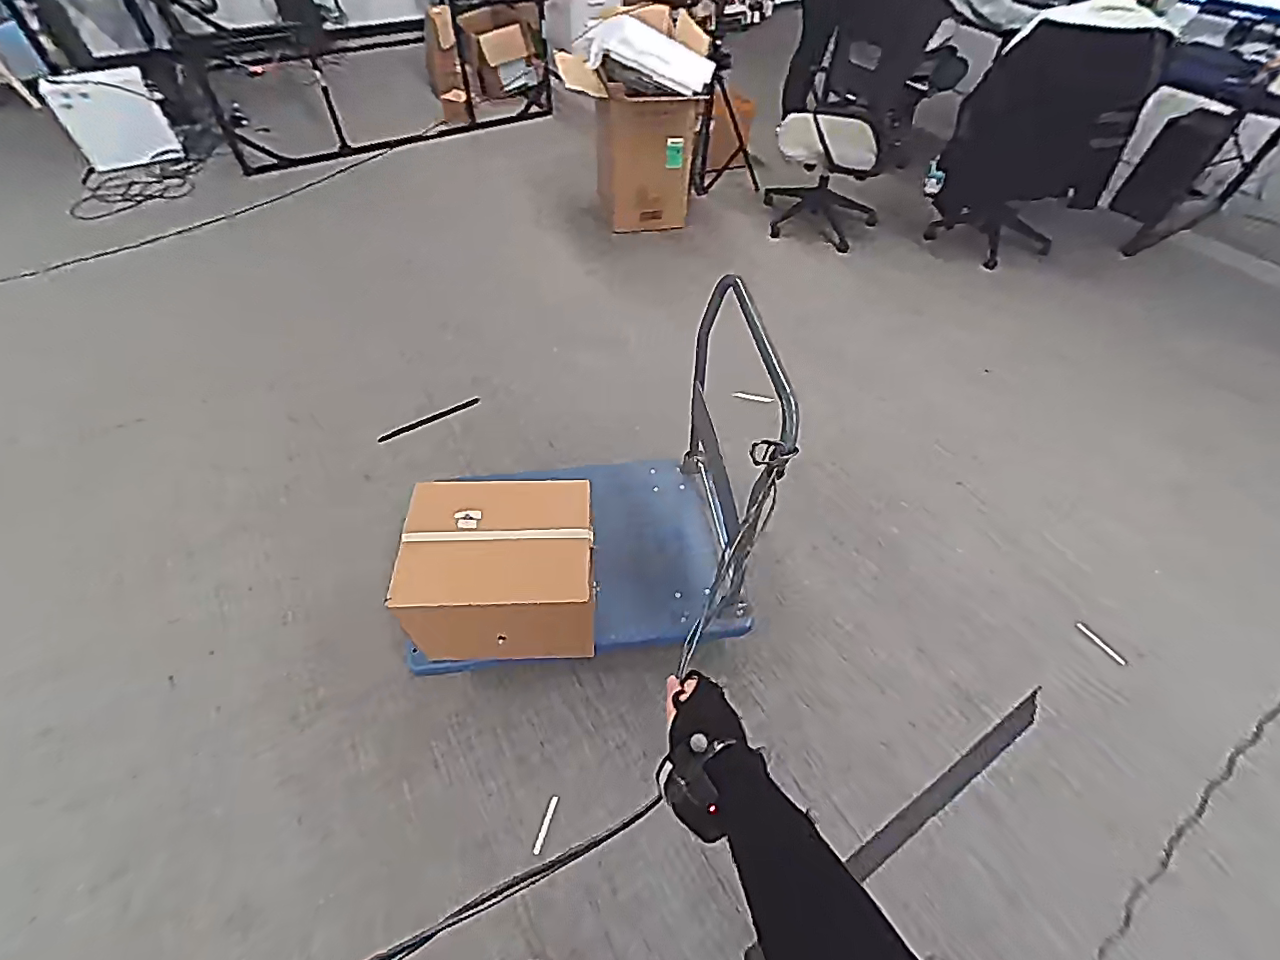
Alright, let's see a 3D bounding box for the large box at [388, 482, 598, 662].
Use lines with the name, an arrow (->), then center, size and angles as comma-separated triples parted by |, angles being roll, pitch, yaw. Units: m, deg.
large box -> -0.308, 0.223, 1.277 | 0.408, 0.320, 0.320 | -1, 51, -2
